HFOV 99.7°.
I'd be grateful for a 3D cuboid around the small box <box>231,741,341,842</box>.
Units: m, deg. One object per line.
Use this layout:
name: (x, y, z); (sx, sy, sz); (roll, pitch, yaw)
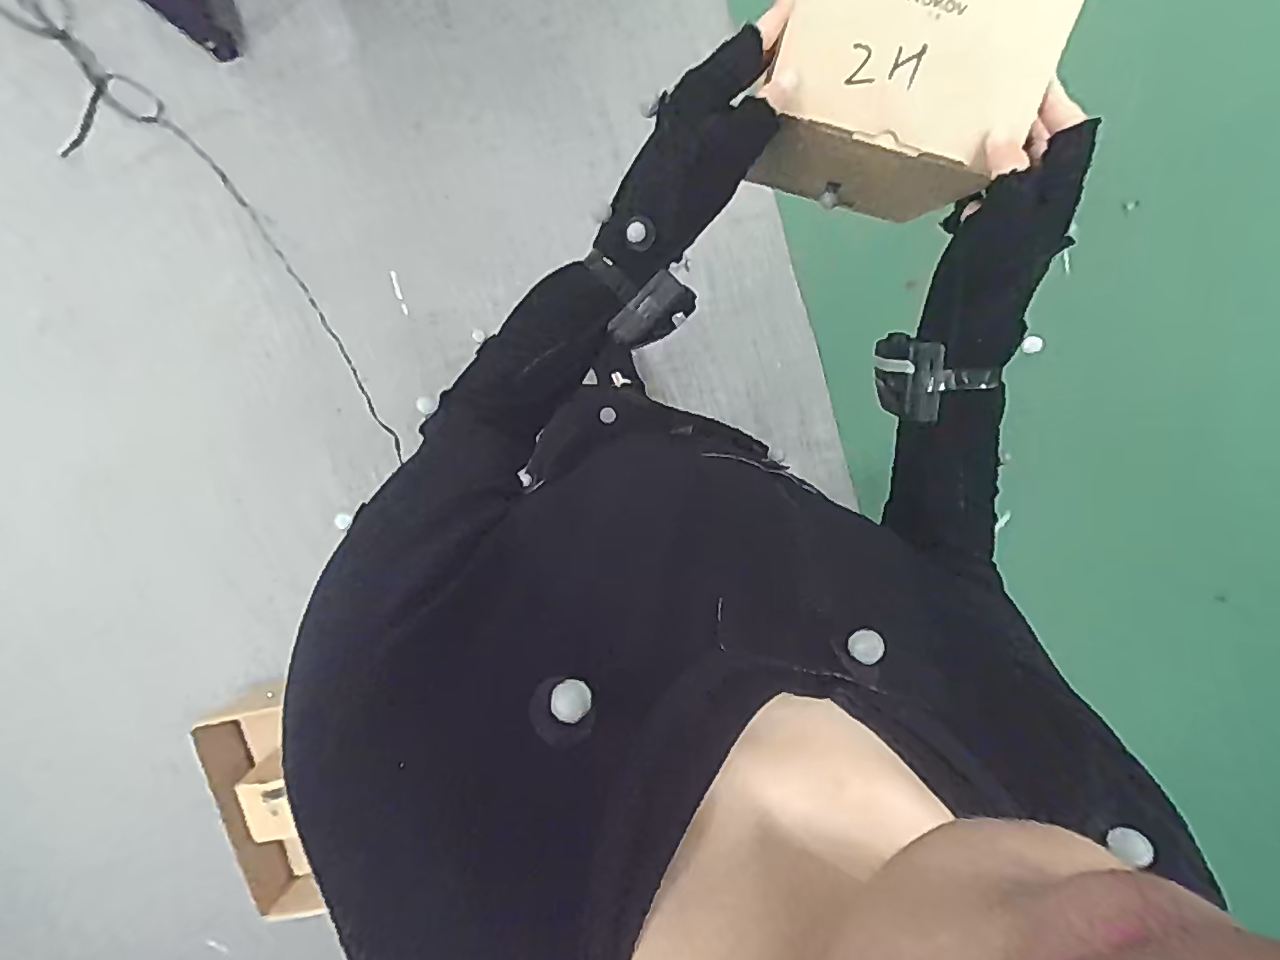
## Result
small box: (-0.960, 0.843, 1.482); (0.168, 0.176, 0.179); (-9, 100, 4)
